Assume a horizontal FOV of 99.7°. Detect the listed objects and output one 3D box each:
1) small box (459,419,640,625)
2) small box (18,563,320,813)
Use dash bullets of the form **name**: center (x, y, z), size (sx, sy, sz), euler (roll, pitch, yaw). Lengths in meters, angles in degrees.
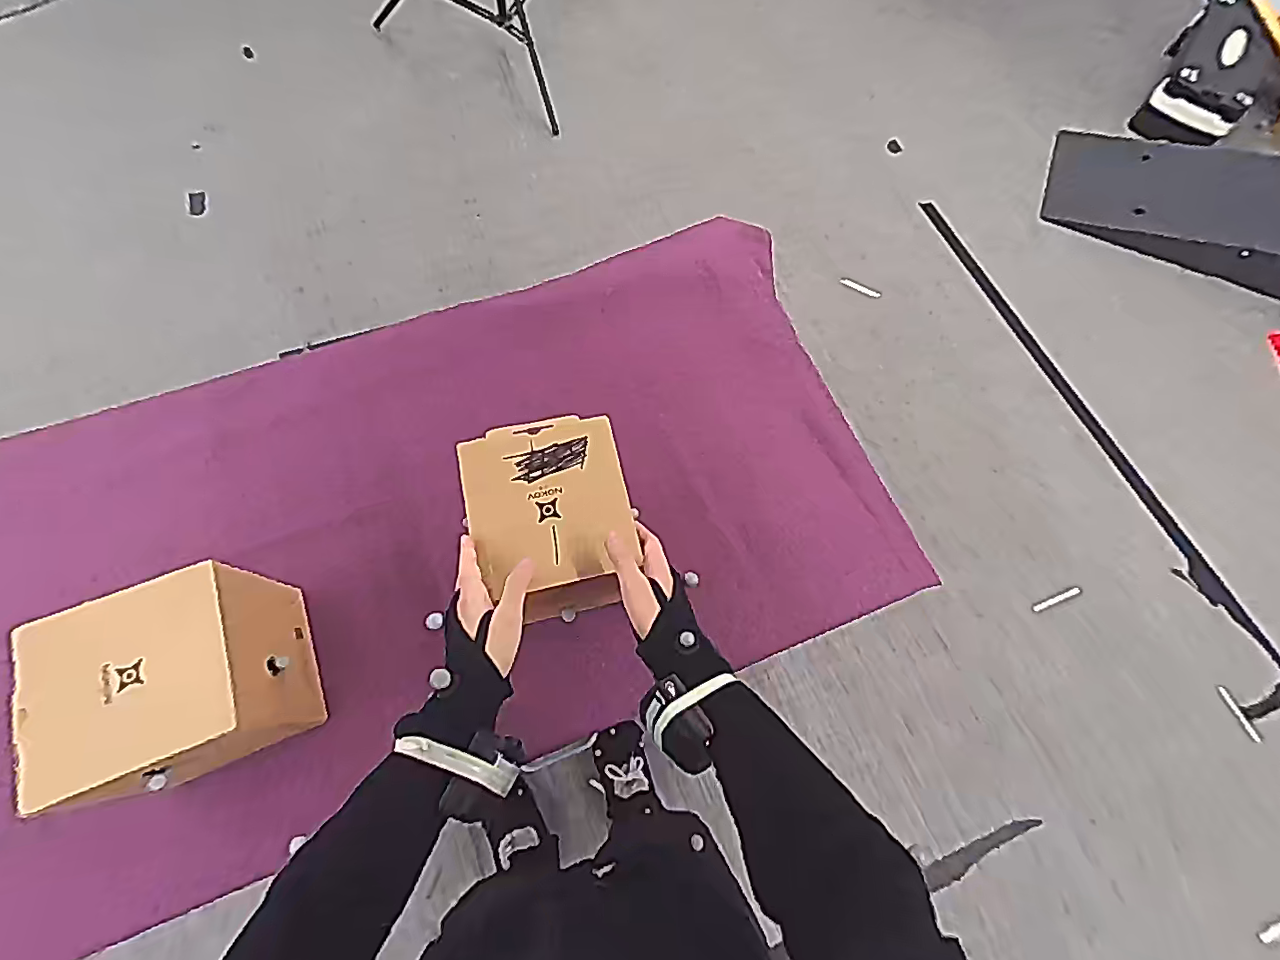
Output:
- **small box**: center (-0.102, 0.055, 0.629), size (0.168, 0.176, 0.179), euler (-11, 69, -8)
- **small box**: center (-0.465, 0.206, 0.564), size (0.179, 0.176, 0.168), euler (-21, 72, -10)
